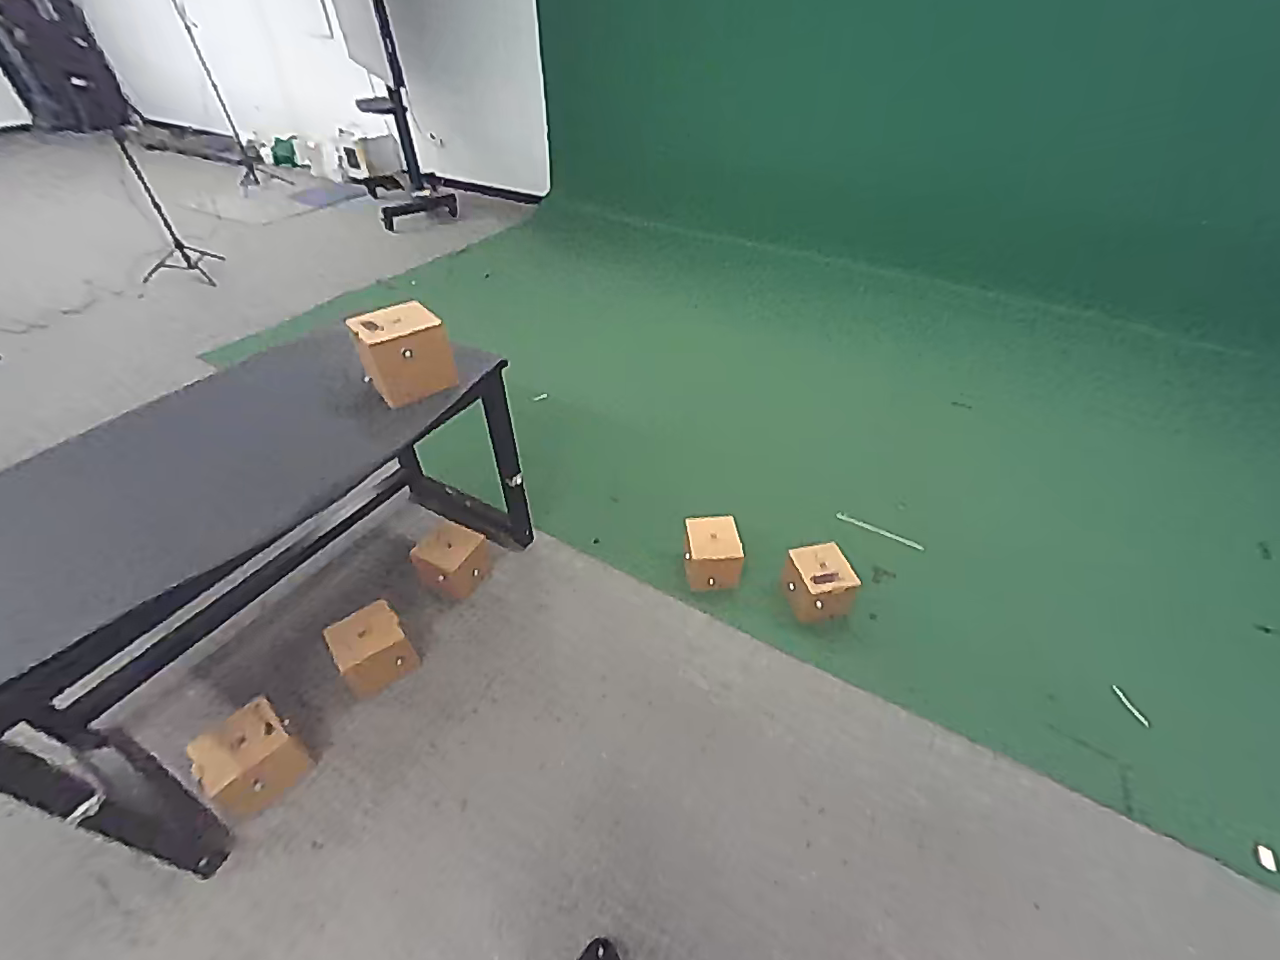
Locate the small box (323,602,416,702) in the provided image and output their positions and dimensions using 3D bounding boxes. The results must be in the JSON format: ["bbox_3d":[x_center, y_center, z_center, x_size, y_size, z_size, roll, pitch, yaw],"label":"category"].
[{"bbox_3d":[-0.758,0.489,1.536,0.179,0.176,0.168,-30,50,-27],"label":"small box"}]

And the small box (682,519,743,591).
[{"bbox_3d":[0.236,0.251,1.811,0.168,0.176,0.179,-3,44,-4],"label":"small box"}]

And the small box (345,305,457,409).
[{"bbox_3d":[-0.571,-0.296,1.307,0.179,0.176,0.168,-29,48,-27],"label":"small box"}]

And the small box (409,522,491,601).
[{"bbox_3d":[-0.613,0.272,1.769,0.179,0.176,0.168,18,45,18],"label":"small box"}]

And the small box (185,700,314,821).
[{"bbox_3d":[-0.944,0.686,1.320,0.168,0.176,0.179,32,52,29],"label":"small box"}]
